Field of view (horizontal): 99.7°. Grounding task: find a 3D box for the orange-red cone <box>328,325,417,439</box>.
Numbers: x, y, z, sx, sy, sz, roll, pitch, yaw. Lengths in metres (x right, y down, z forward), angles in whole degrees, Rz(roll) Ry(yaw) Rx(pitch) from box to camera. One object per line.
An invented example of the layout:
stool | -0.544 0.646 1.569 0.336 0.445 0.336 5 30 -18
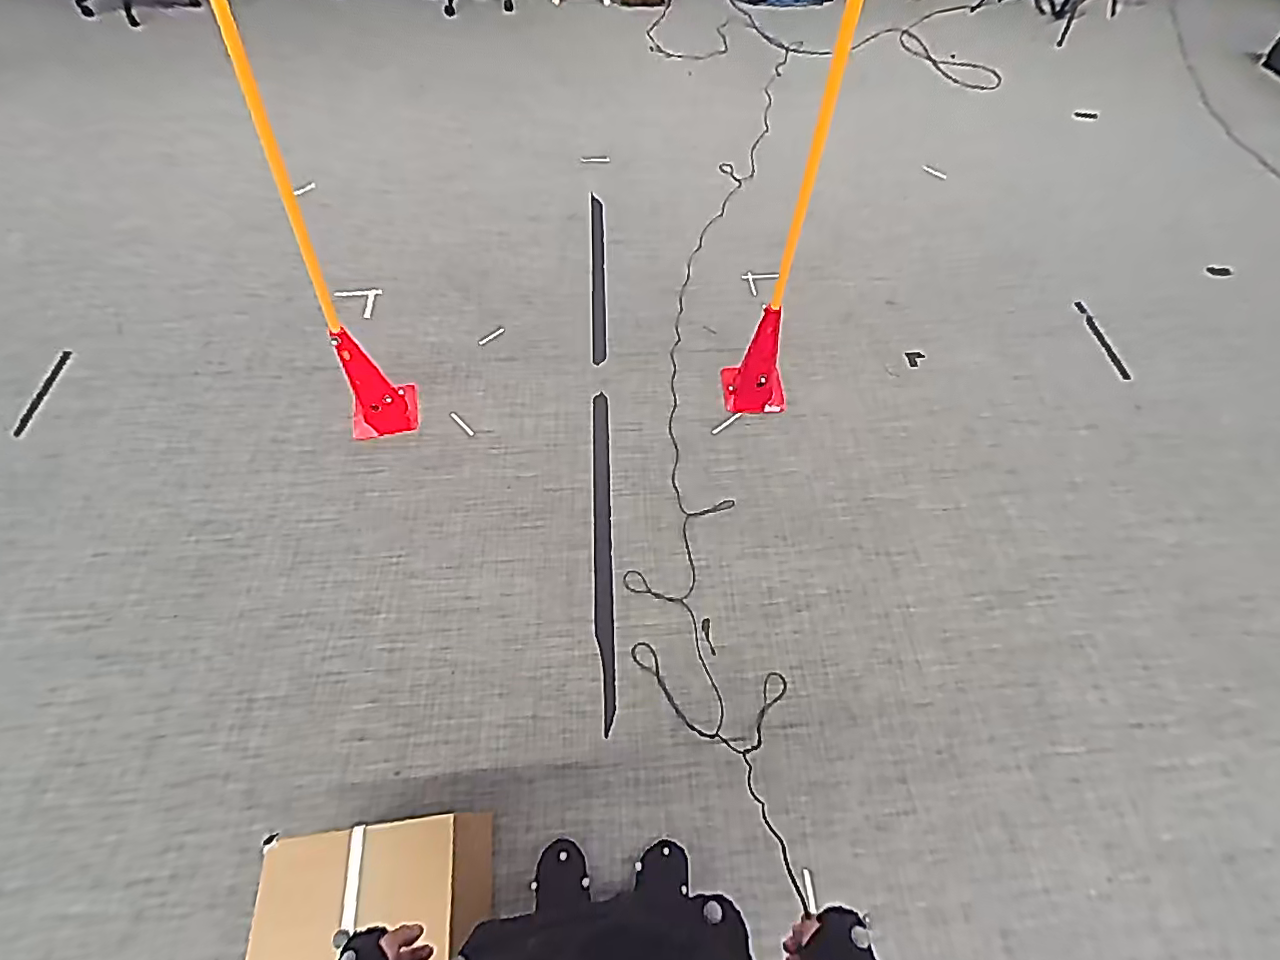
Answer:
orange-red cone | -0.824 -0.310 1.604 0.199 0.360 0.198 -11 59 -6
